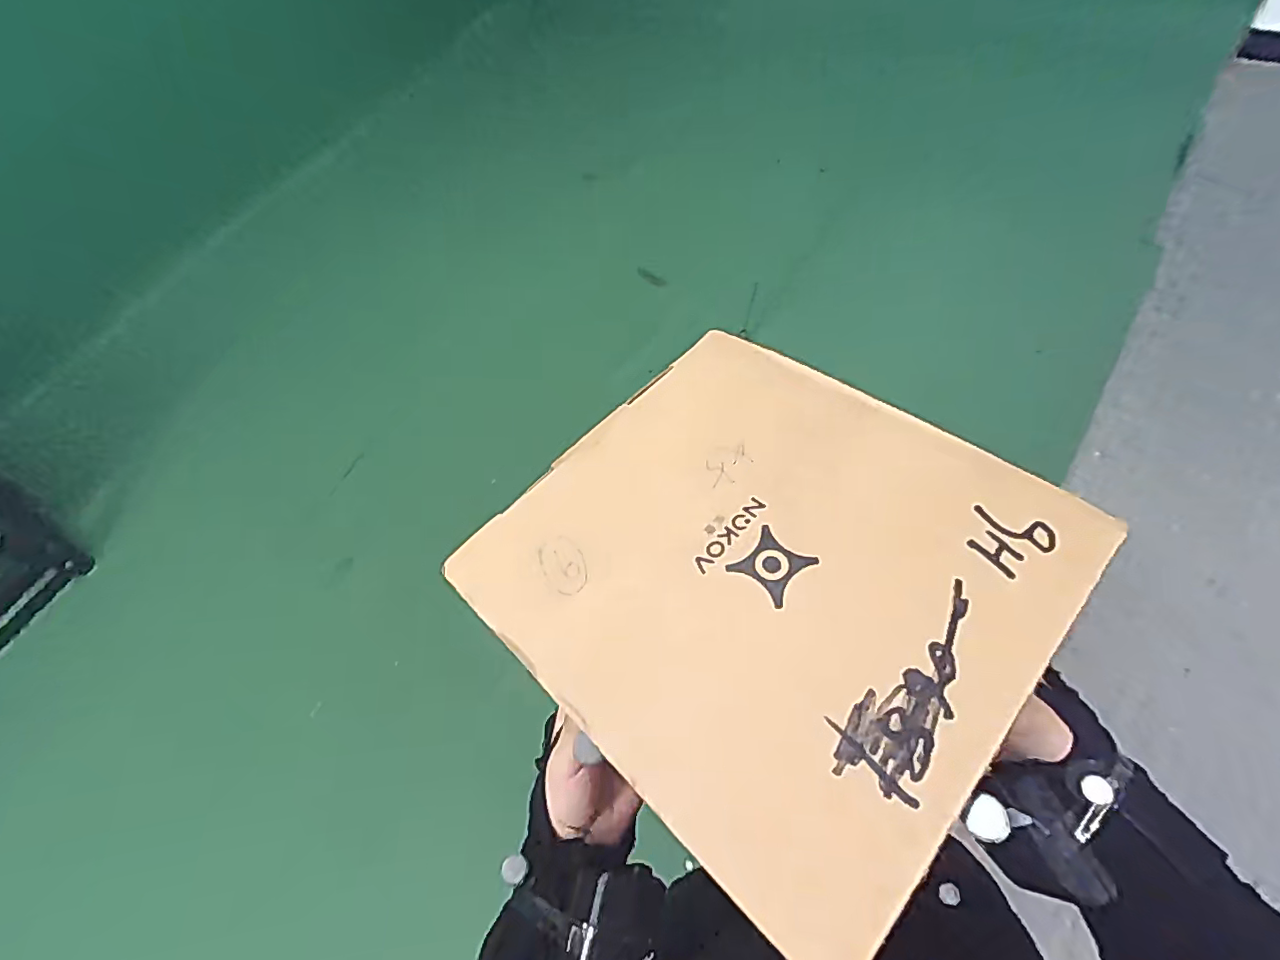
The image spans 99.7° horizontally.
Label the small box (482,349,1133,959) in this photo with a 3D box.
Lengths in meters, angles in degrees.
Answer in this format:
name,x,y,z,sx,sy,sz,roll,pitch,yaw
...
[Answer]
name,x,y,z,sx,sy,sz,roll,pitch,yaw
small box,0.063,0.075,0.263,0.179,0.176,0.168,36,70,30
